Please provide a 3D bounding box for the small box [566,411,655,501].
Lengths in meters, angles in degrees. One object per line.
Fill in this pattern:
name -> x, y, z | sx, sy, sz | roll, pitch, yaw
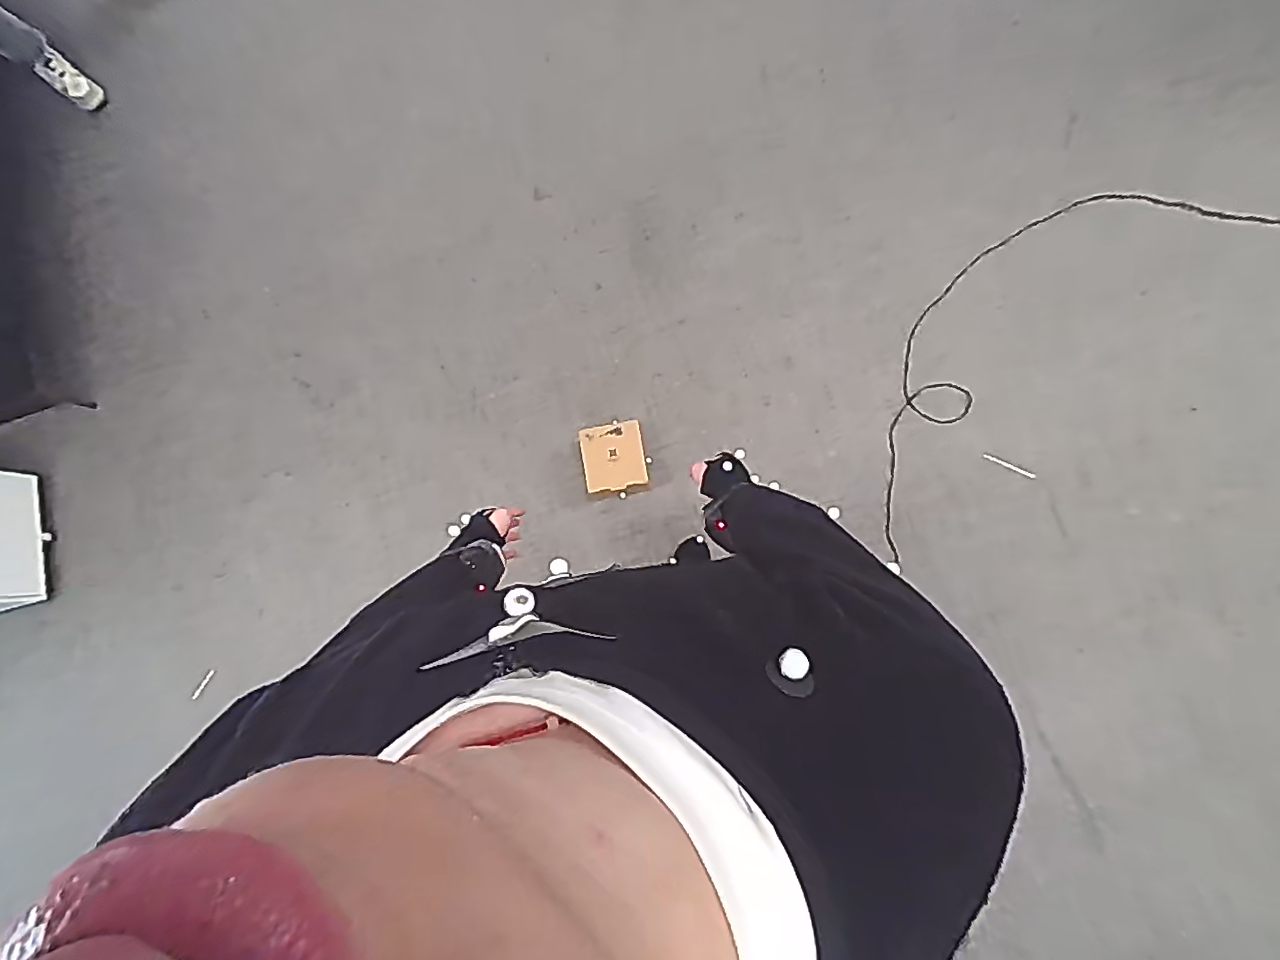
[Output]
small box -> -0.074, -0.059, 1.519 | 0.179, 0.176, 0.168 | -40, 78, 0
